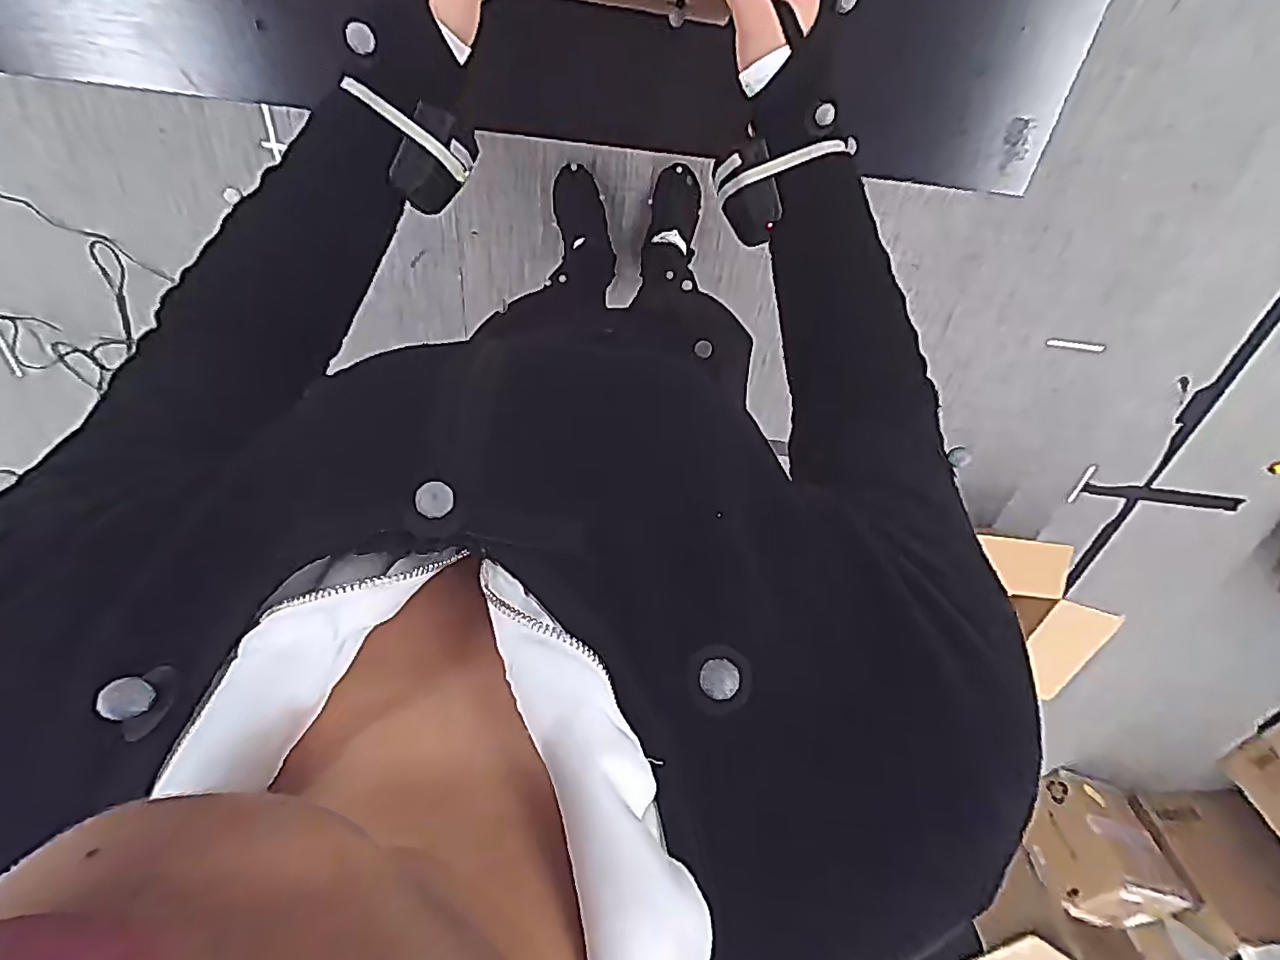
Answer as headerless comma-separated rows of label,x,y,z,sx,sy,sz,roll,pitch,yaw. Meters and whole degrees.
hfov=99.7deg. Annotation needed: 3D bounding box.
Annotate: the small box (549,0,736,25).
small box,-0.004,-0.447,0.382,0.179,0.176,0.168,8,123,-1
